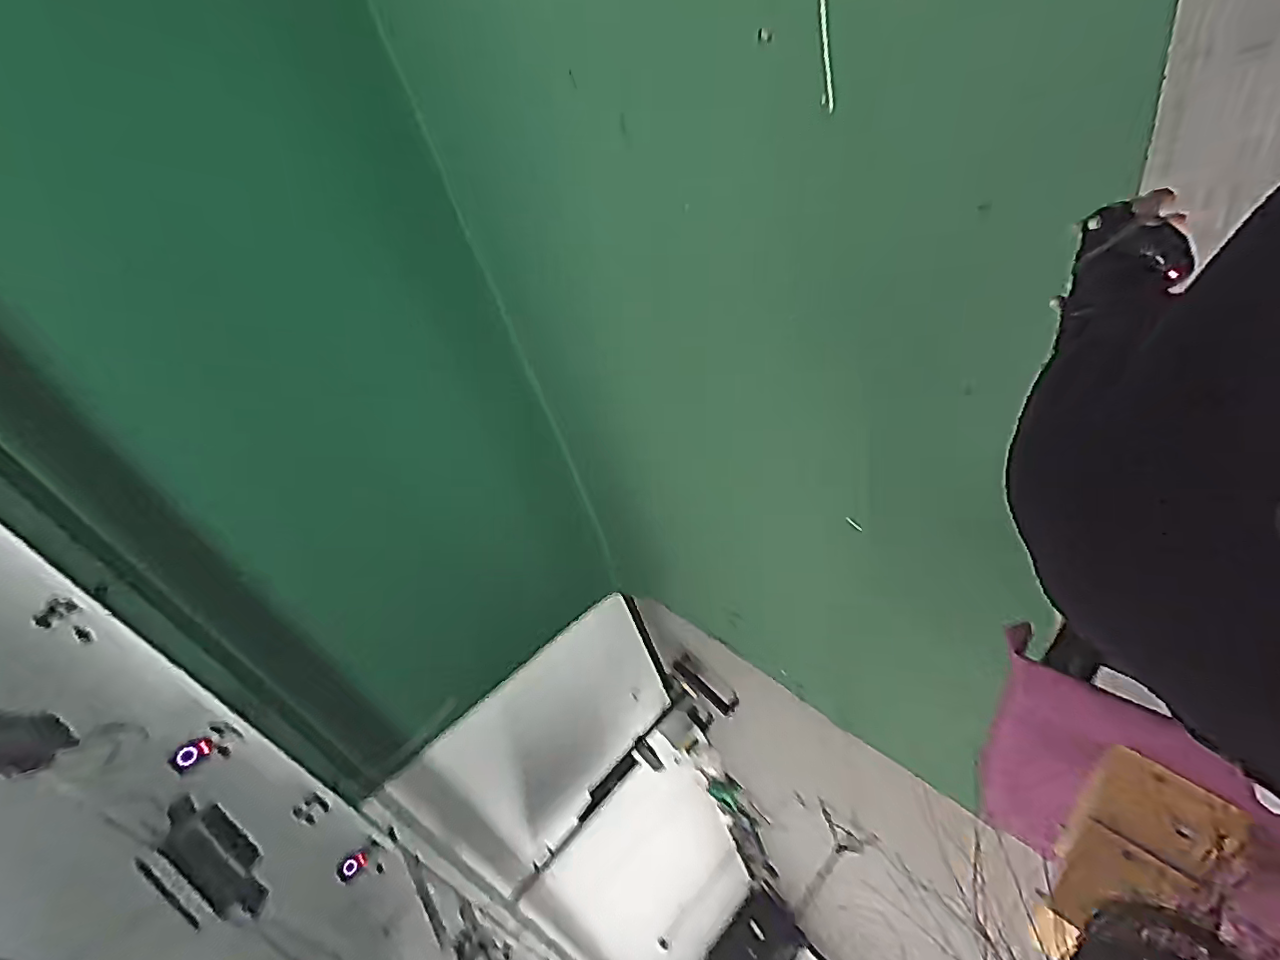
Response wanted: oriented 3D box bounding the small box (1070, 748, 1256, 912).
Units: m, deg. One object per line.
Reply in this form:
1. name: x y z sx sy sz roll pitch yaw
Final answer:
1. small box: 0.860 0.587 0.894 0.168 0.176 0.179 28 145 40

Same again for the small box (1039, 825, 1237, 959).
1. small box: 0.740 0.667 0.811 0.168 0.176 0.179 26 144 43
